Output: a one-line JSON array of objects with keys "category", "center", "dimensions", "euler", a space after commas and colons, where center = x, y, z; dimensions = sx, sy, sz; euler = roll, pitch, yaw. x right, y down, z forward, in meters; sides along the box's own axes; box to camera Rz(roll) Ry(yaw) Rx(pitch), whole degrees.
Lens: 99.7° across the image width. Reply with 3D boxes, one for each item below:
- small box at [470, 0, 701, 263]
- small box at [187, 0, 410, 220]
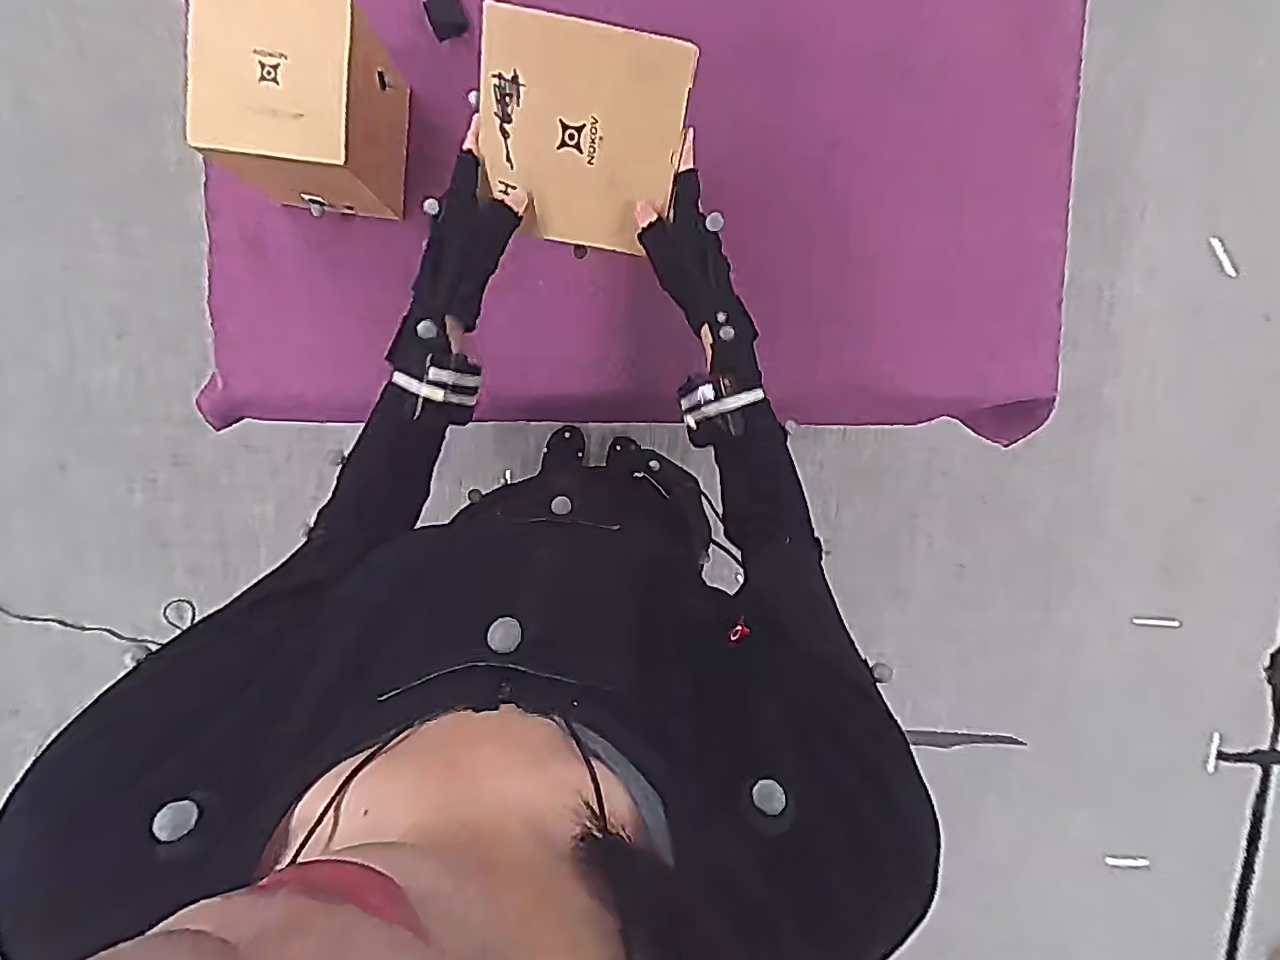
[{"category": "small box", "center": [-0.053, -0.317, 0.522], "dimensions": [0.179, 0.176, 0.168], "euler": [8, 114, -6]}, {"category": "small box", "center": [-0.389, -0.438, 0.643], "dimensions": [0.168, 0.176, 0.179], "euler": [5, 96, -3]}]
